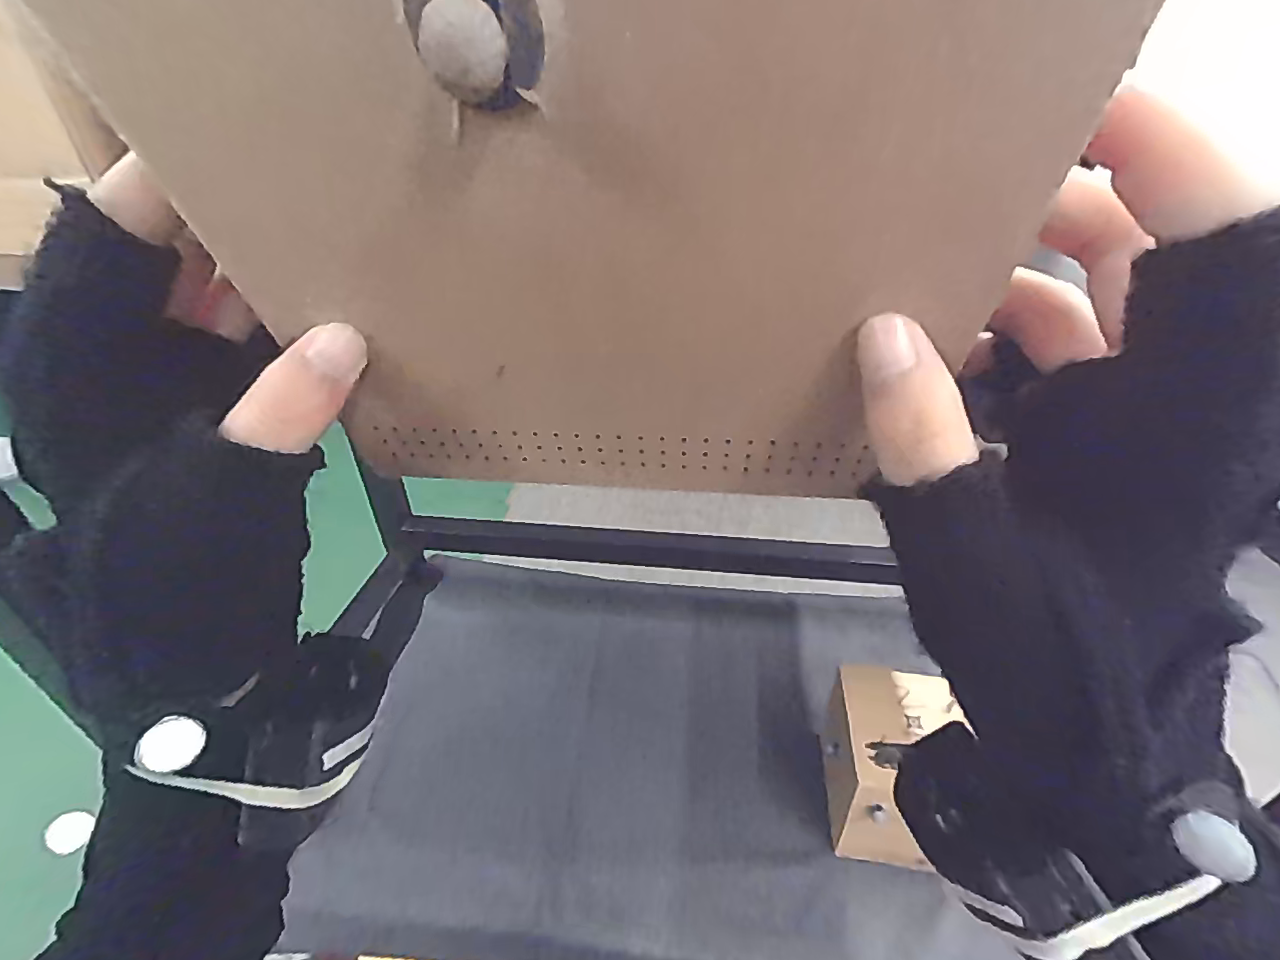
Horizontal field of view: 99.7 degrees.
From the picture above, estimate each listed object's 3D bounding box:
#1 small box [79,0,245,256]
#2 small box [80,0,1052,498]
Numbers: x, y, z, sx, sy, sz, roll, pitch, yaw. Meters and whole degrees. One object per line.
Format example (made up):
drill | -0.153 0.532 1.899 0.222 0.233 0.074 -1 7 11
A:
small box | -0.204 -0.250 0.373 0.168 0.176 0.179 3 32 4
small box | -0.007 -0.108 0.169 0.179 0.176 0.168 3 55 6
